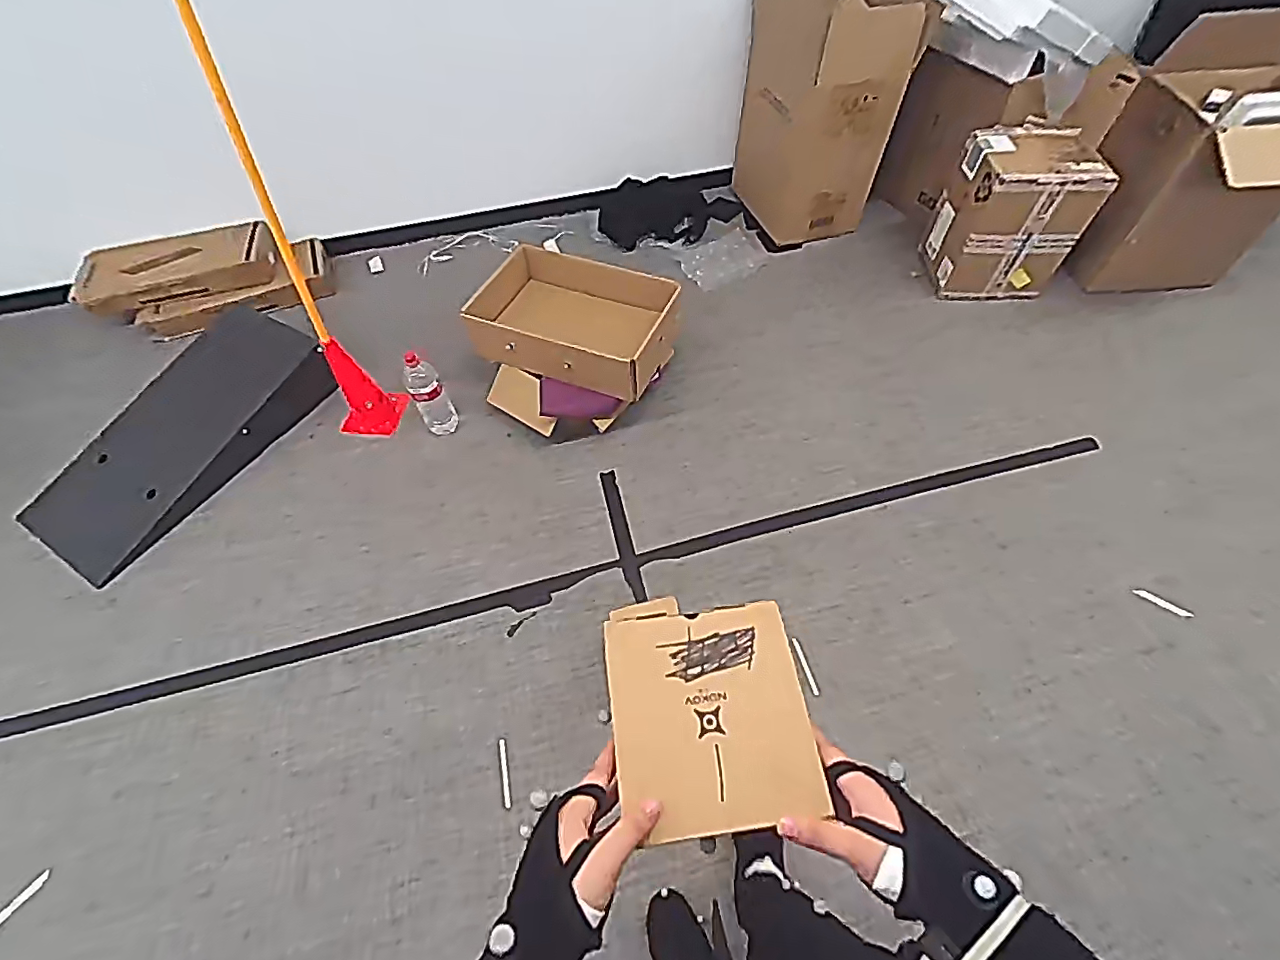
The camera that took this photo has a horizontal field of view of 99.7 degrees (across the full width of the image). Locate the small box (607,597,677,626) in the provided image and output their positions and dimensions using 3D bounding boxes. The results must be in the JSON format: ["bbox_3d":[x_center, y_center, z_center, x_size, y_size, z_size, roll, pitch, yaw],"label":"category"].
[{"bbox_3d":[0.021,0.424,1.387,0.179,0.176,0.168,-12,57,-7],"label":"small box"}]

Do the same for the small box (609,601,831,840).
[{"bbox_3d":[0.057,0.235,0.525,0.168,0.176,0.179,-5,59,-5],"label":"small box"}]
